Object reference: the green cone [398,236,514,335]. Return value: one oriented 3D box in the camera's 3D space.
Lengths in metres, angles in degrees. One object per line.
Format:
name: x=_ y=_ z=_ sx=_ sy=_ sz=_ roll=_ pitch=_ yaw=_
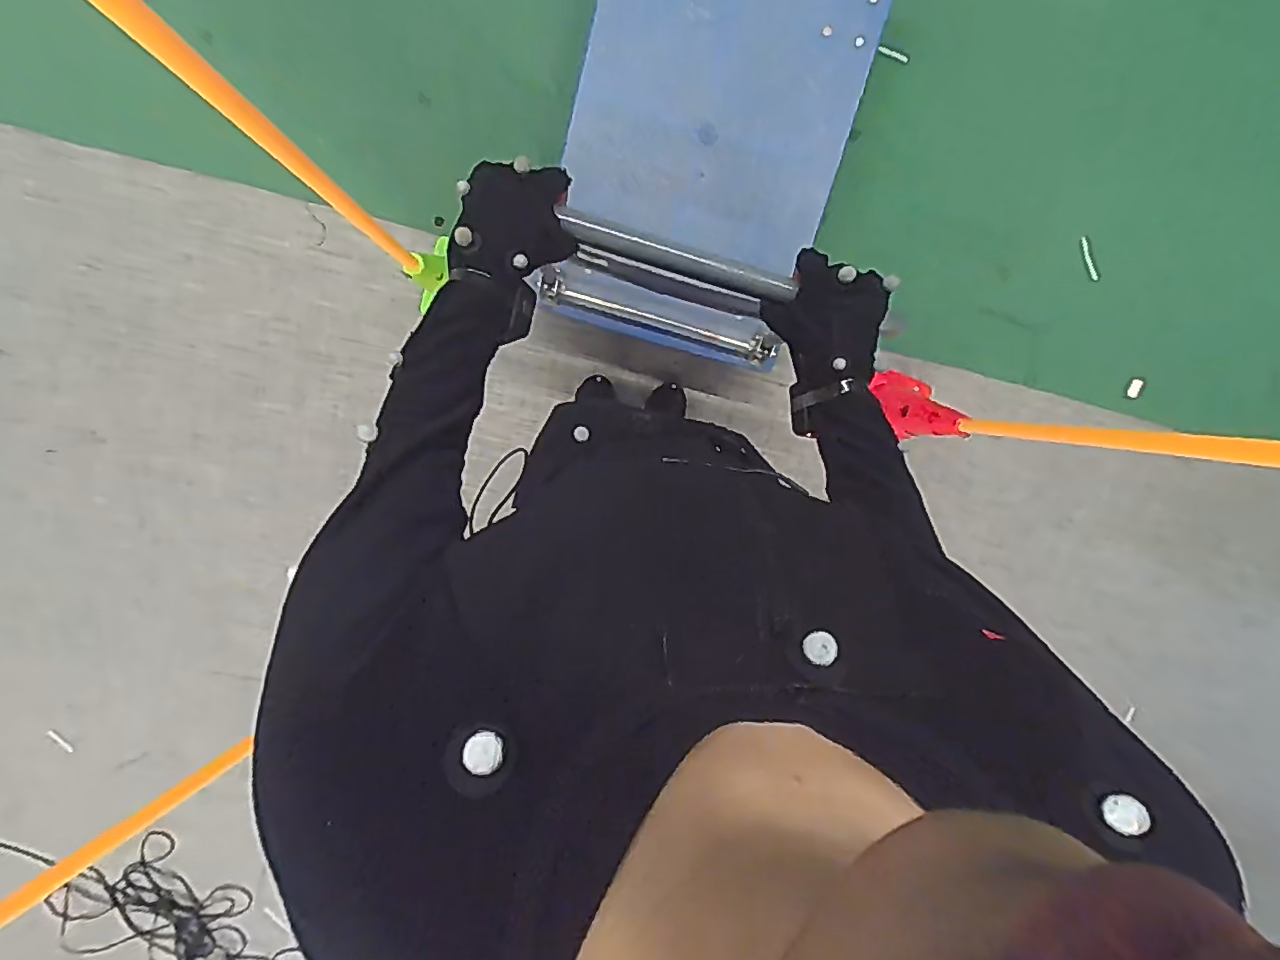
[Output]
green cone: x=-0.434 y=-0.455 z=1.197 sx=0.202 sy=0.368 sz=0.200 roll=18 pitch=101 yaw=-4
